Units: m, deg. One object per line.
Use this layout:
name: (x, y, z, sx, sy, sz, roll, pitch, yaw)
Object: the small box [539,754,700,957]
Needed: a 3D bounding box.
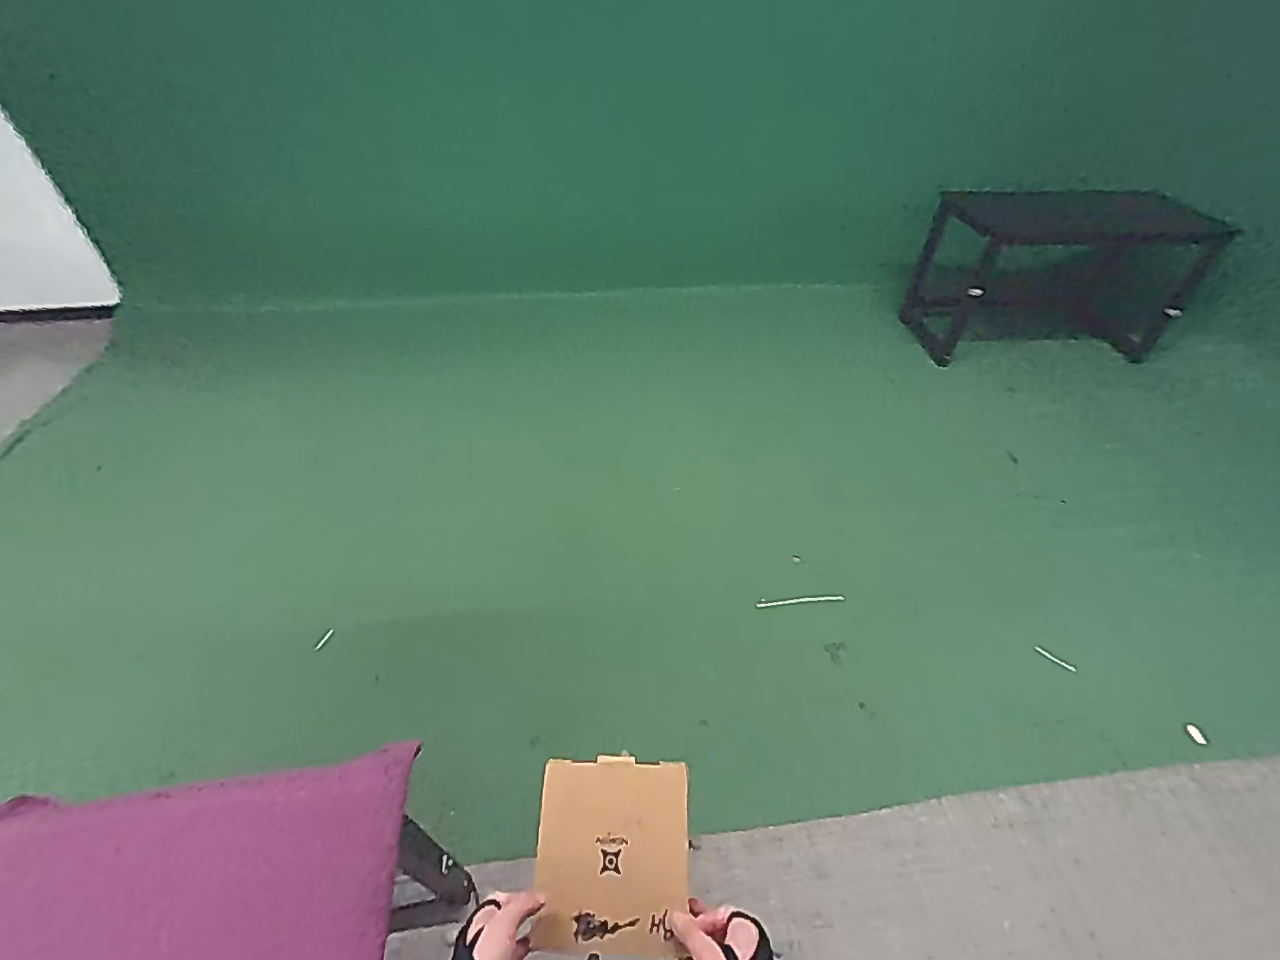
small box: (-0.013, 0.436, 0.651, 0.168, 0.176, 0.179, -1, 60, 5)
